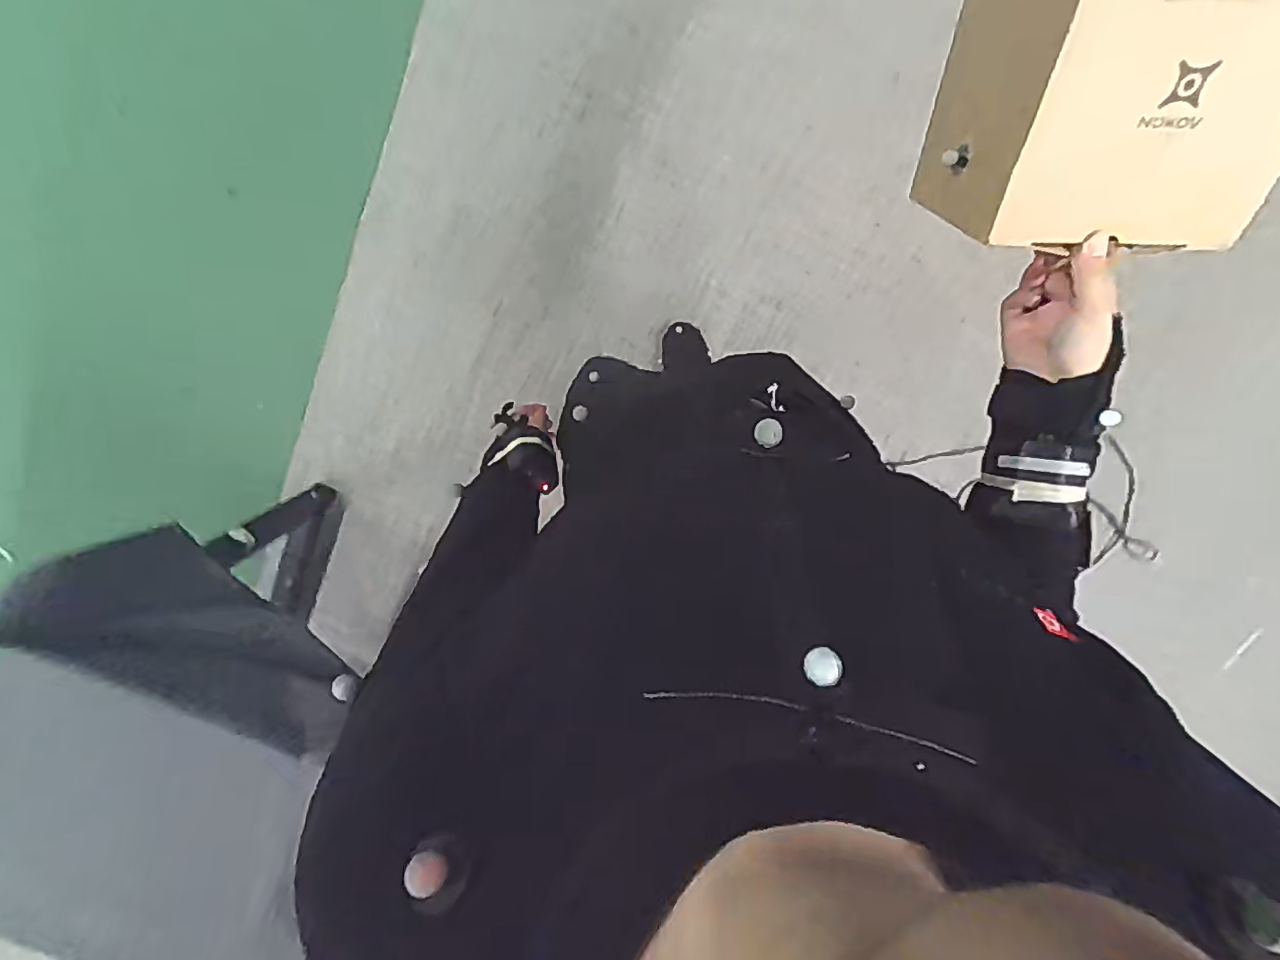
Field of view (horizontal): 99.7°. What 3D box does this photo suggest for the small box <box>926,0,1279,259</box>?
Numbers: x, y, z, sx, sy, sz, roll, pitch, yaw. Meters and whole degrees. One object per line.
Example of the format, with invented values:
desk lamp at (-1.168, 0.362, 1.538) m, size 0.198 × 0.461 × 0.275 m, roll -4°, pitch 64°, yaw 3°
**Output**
small box at (0.330, -0.272, 0.383) m, size 0.168 × 0.176 × 0.179 m, roll 2°, pitch 126°, yaw 3°
